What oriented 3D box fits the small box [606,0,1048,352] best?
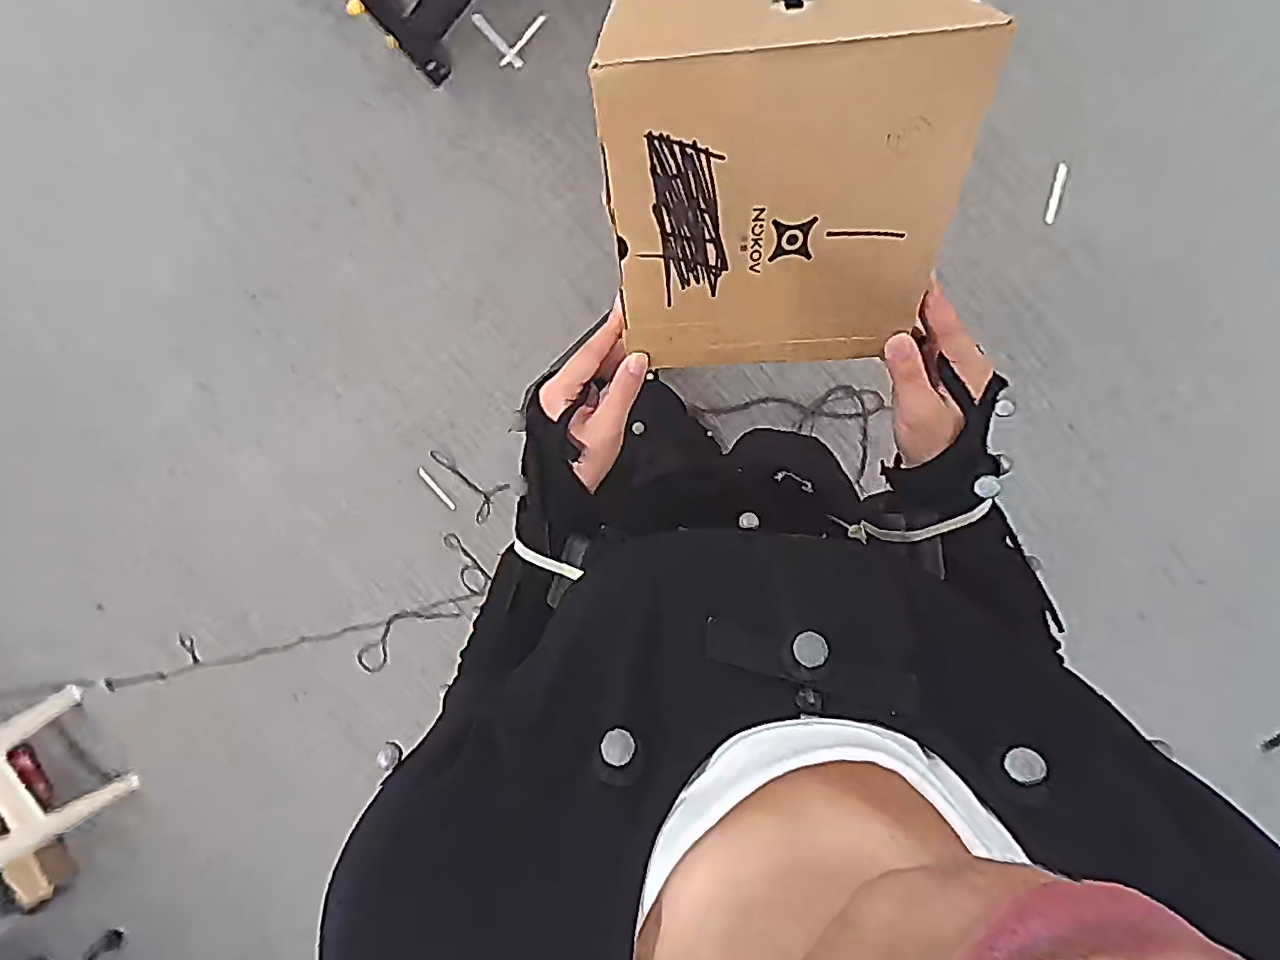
[{"bbox_3d":[0.081,-0.197,0.326,0.179,0.176,0.168,-2,140,5],"label":"small box"}]
